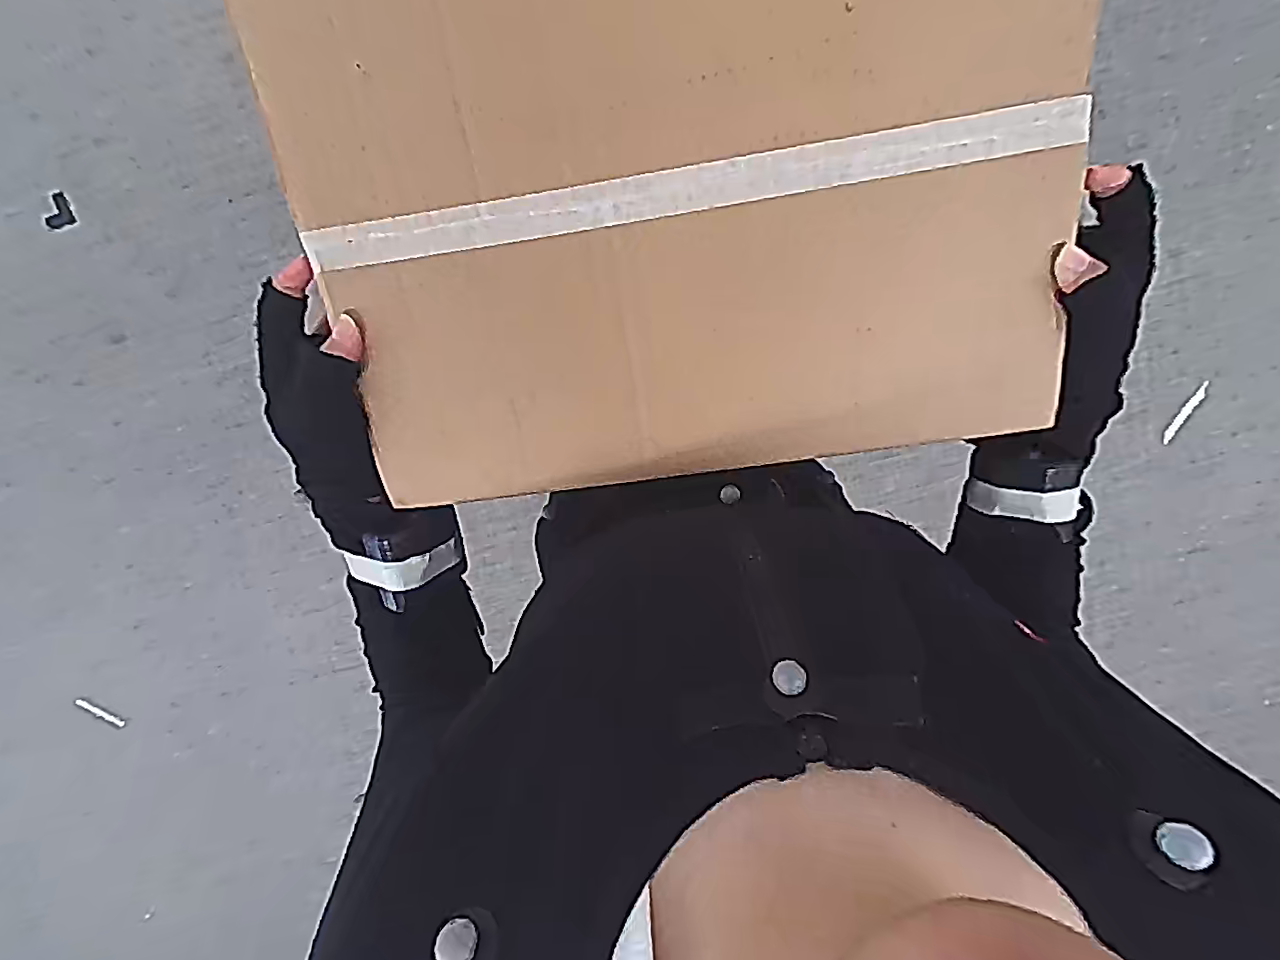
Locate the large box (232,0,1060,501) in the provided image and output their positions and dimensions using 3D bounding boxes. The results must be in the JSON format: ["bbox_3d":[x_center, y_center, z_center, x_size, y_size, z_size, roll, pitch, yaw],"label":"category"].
[{"bbox_3d":[0.018,-0.206,0.432,0.408,0.320,0.320,-7,109,4],"label":"large box"}]
